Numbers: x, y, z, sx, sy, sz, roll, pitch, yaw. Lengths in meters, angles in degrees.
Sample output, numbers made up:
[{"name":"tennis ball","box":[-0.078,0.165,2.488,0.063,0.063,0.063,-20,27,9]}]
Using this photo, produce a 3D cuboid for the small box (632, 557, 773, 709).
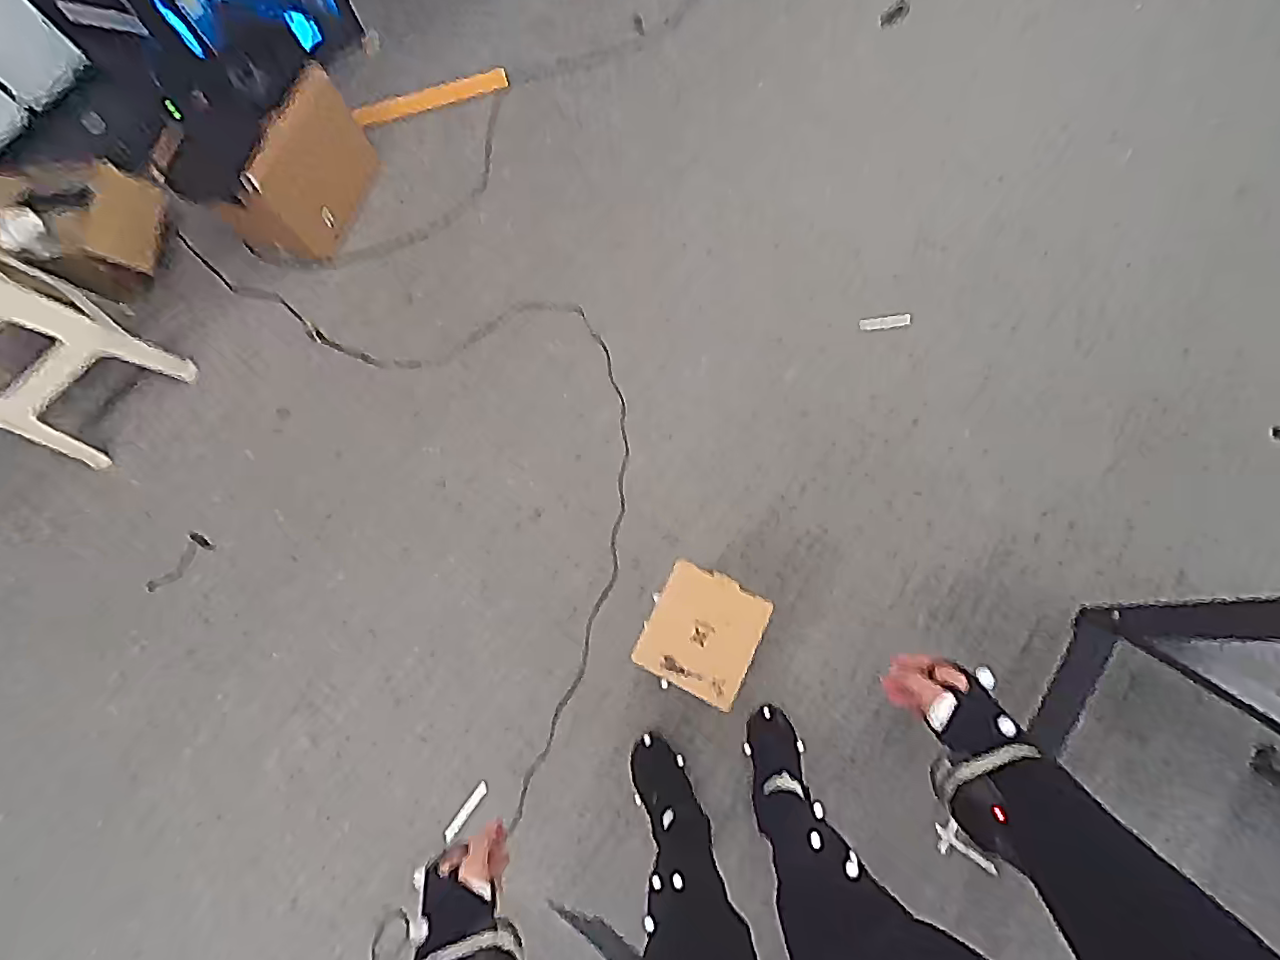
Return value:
[{"name":"small box","box":[0.101,0.251,0.903,0.168,0.176,0.179,25,77,11]}]
